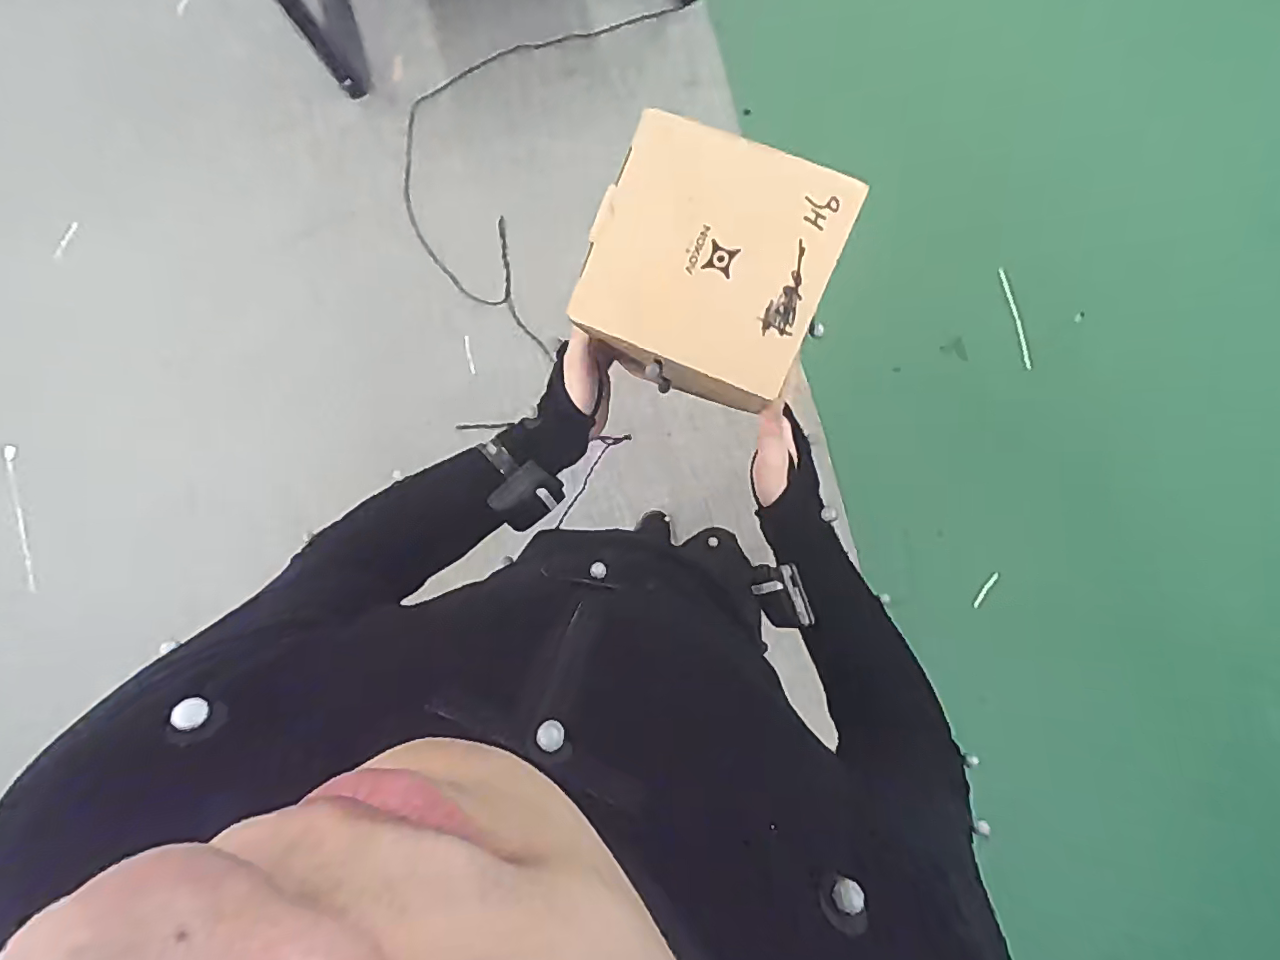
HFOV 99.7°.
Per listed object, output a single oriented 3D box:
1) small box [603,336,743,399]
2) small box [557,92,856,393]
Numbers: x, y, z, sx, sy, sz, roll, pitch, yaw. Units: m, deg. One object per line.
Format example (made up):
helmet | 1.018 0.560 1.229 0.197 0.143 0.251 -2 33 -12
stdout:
small box | 0.072 -0.205 0.643 0.168 0.176 0.179 18 94 6
small box | 0.056 -0.185 0.477 0.179 0.176 0.168 23 96 7
